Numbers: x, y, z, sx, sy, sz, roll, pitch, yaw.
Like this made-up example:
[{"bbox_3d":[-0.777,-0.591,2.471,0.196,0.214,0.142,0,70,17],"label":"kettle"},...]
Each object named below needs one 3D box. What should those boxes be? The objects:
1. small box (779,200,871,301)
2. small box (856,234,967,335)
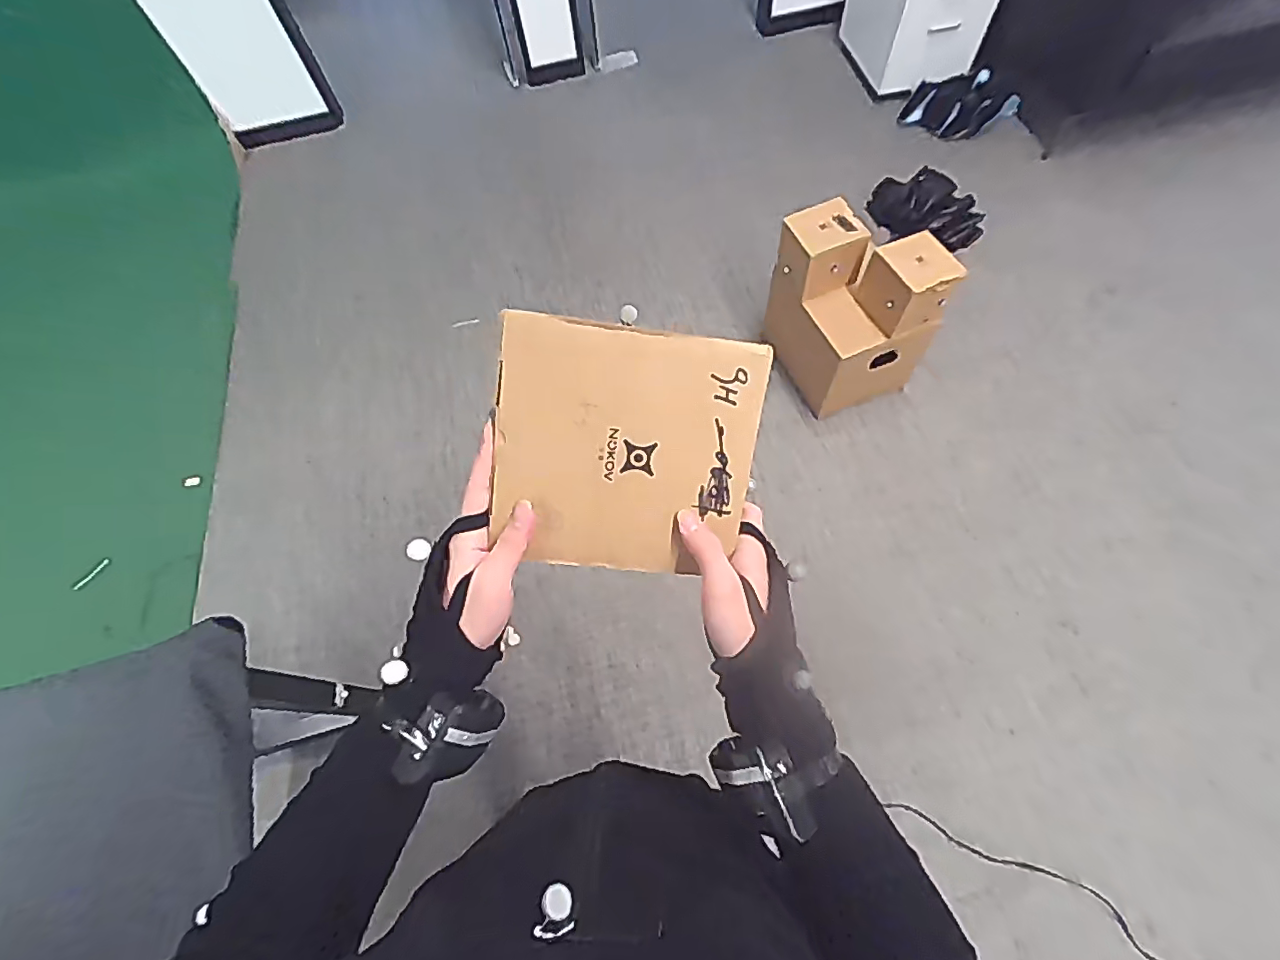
[{"bbox_3d":[0.510,-0.639,1.519,0.179,0.176,0.168,-21,64,-2],"label":"small box"},{"bbox_3d":[0.712,-0.511,1.440,0.168,0.176,0.179,-22,63,-10],"label":"small box"}]
